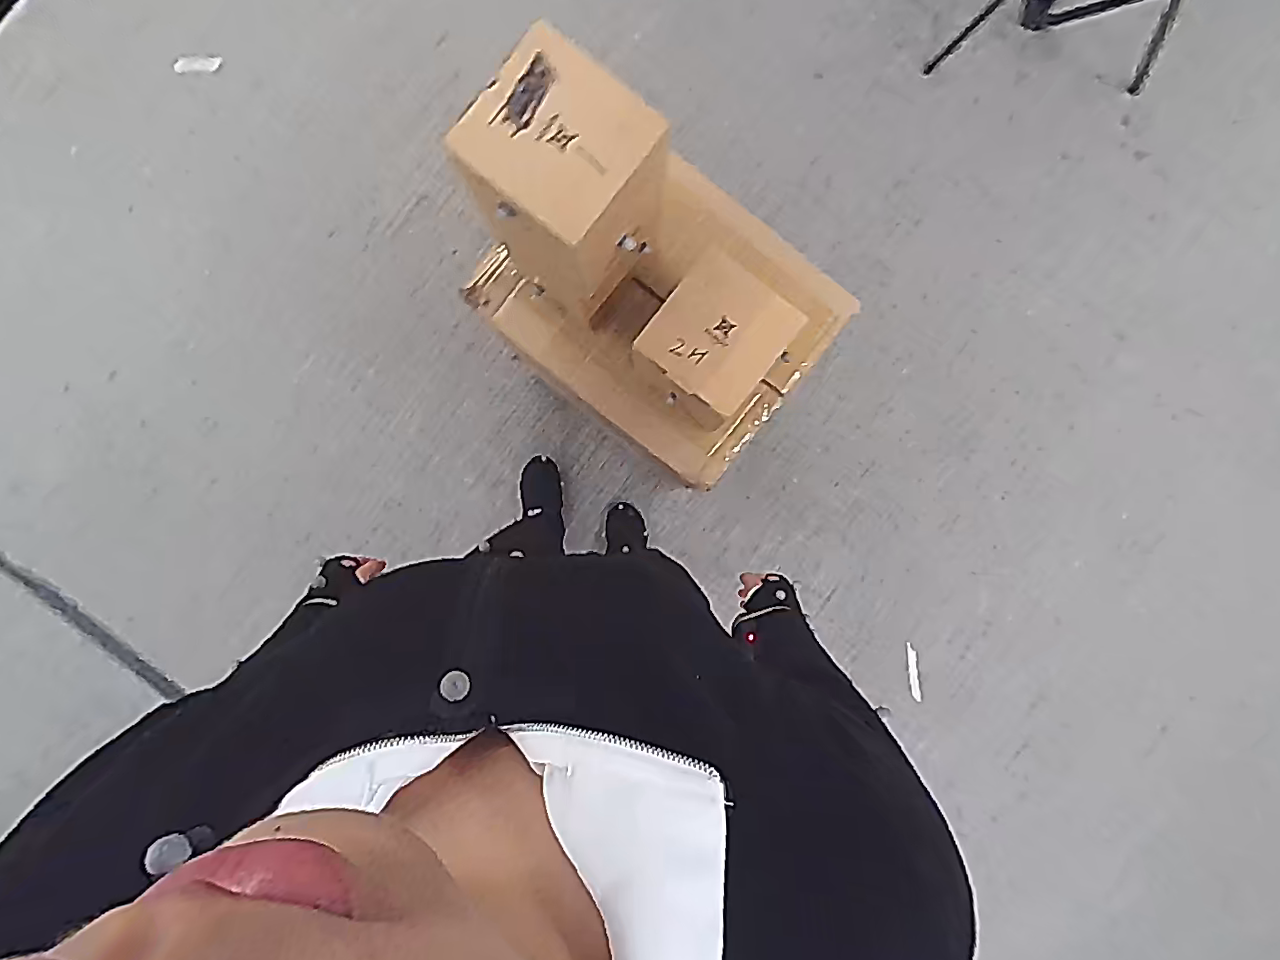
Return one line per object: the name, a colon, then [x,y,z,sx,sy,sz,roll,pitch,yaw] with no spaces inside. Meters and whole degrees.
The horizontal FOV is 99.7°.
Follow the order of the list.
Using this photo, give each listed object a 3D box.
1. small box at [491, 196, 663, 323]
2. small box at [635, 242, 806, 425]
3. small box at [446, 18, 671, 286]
small box: [-0.085,-0.366,0.800,0.168,0.176,0.179,39,92,0]
small box: [0.107,-0.202,0.798,0.168,0.176,0.179,39,91,2]
small box: [-0.085,-0.361,0.636,0.179,0.176,0.168,38,91,-1]
